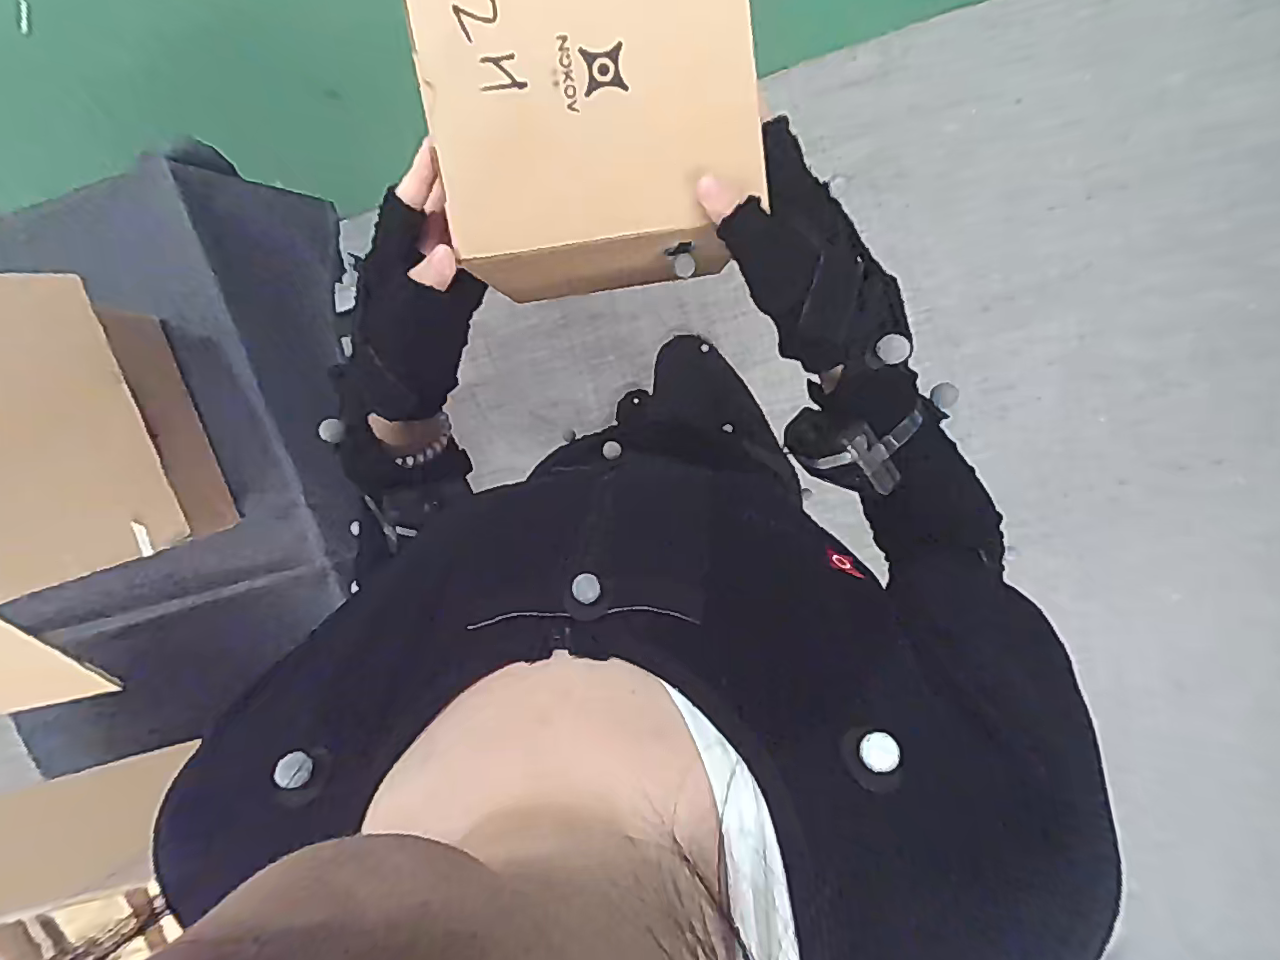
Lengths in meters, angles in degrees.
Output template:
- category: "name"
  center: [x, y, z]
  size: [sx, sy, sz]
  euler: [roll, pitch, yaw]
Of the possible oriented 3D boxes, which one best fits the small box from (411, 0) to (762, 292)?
- category: "small box"
  center: [-0.031, -0.232, 0.364]
  size: [0.179, 0.176, 0.168]
  euler: [-8, 101, -1]
